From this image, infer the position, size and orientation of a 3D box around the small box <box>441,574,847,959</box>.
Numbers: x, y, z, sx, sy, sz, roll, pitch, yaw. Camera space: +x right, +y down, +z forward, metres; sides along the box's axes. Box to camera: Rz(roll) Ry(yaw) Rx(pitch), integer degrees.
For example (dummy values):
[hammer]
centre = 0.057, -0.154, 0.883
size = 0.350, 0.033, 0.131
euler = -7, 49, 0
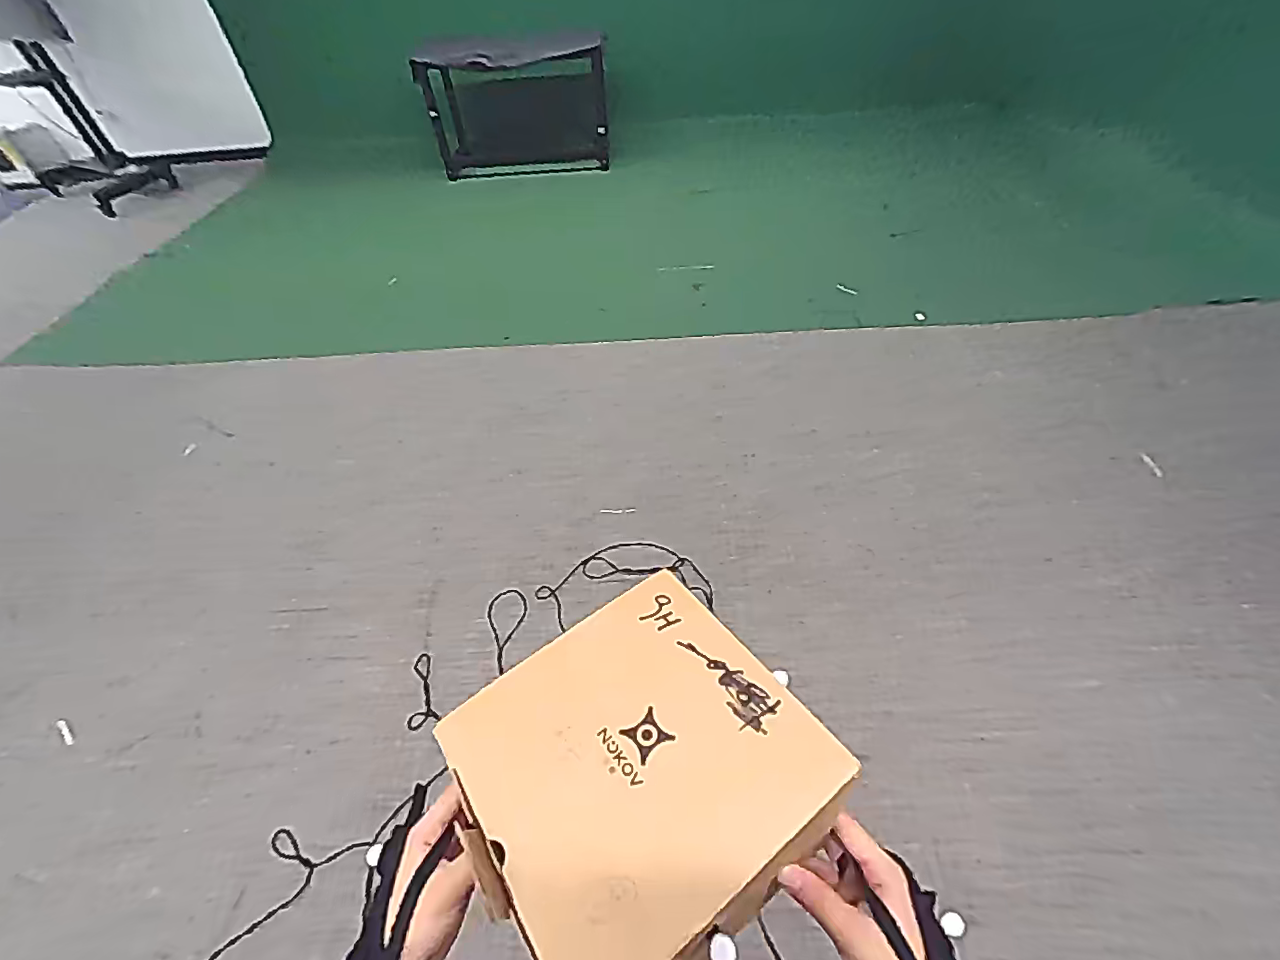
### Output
[small box]
centre = 0.005, 0.204, 0.356
size = 0.179, 0.176, 0.168
euler = -31, 49, -21
